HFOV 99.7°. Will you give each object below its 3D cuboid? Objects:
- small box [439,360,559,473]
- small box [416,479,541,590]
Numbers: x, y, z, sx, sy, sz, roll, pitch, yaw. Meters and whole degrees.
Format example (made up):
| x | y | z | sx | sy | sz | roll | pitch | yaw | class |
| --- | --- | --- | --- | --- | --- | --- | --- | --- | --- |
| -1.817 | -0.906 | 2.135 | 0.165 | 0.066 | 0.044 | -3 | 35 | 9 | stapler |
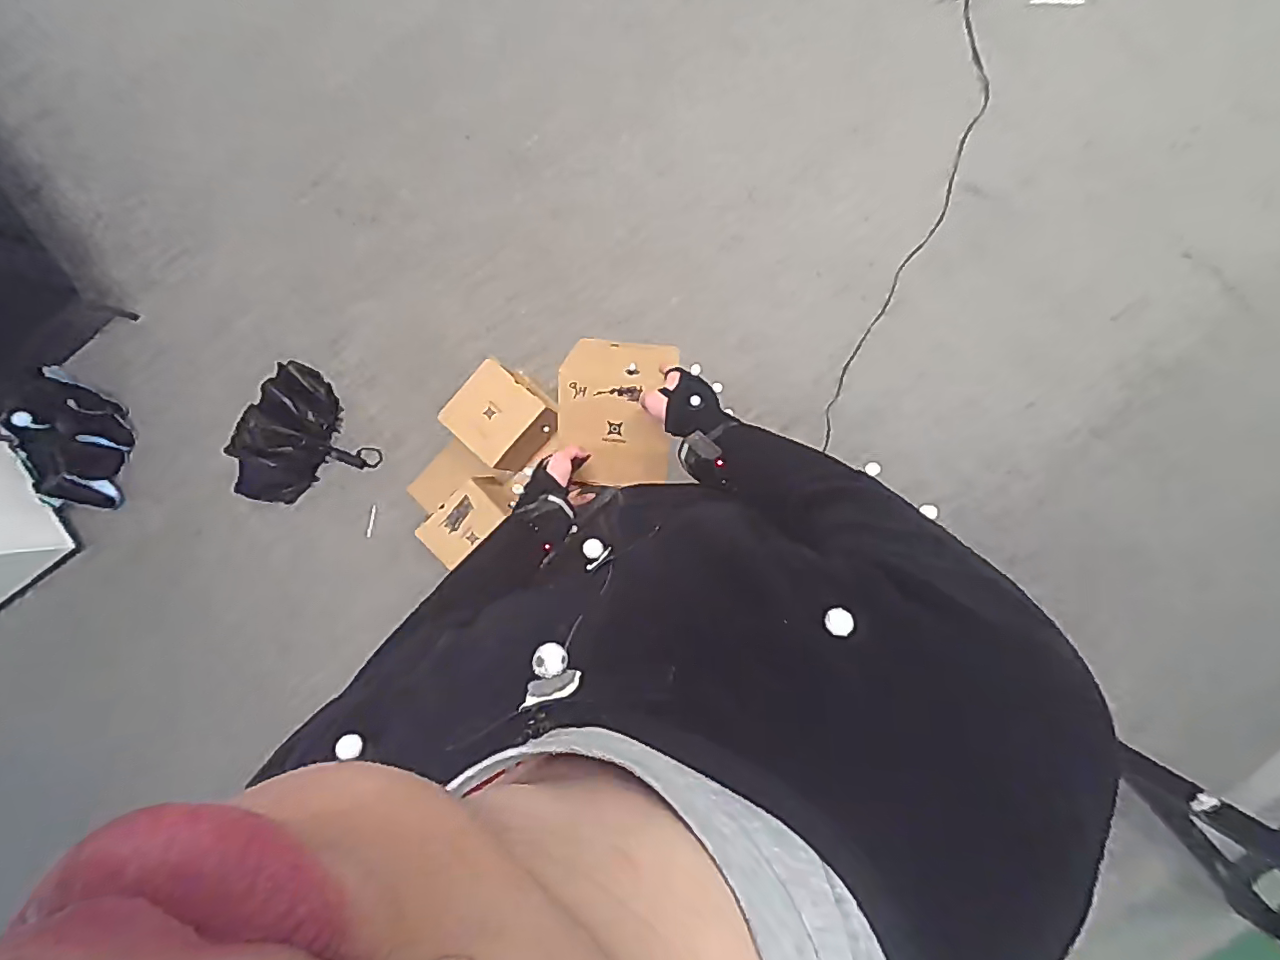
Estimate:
| x | y | z | sx | sy | sz | roll | pitch | yaw | class |
| --- | --- | --- | --- | --- | --- | --- | --- | --- | --- |
| -0.298 | -0.132 | 1.199 | 0.168 | 0.176 | 0.179 | 42 | 94 | 7 | small box |
| -0.348 | 0.114 | 1.198 | 0.168 | 0.176 | 0.179 | -44 | 89 | 3 | small box |
